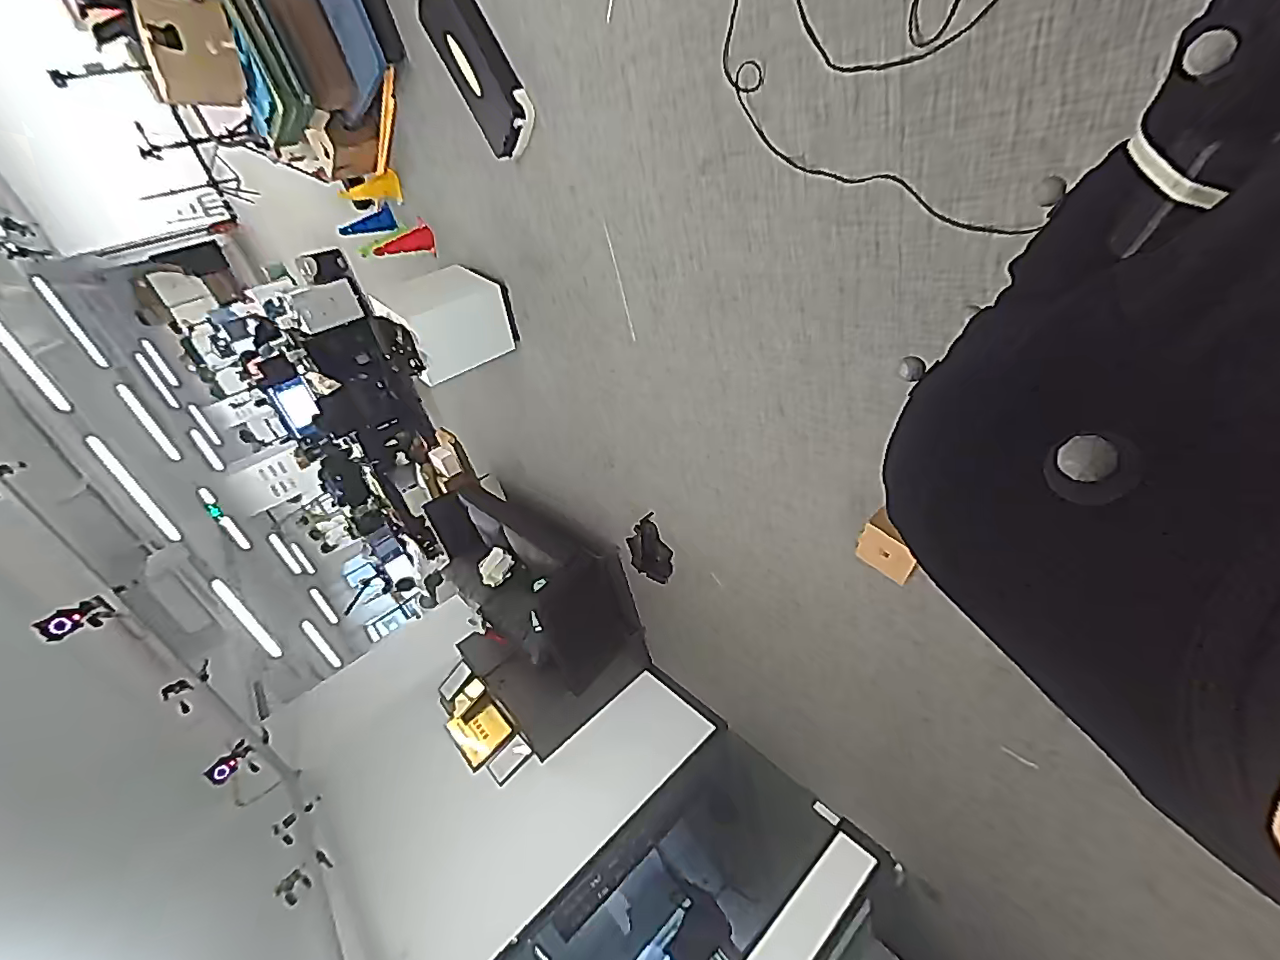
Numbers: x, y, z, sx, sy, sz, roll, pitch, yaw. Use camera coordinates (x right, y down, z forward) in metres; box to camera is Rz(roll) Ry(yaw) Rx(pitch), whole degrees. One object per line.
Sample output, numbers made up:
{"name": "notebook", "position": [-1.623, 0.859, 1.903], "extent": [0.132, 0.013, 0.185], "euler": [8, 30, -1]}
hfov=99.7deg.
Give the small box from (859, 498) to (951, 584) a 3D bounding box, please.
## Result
{"name": "small box", "position": [0.824, 0.181, 1.688], "extent": [0.179, 0.176, 0.168], "euler": [36, 147, 33]}
